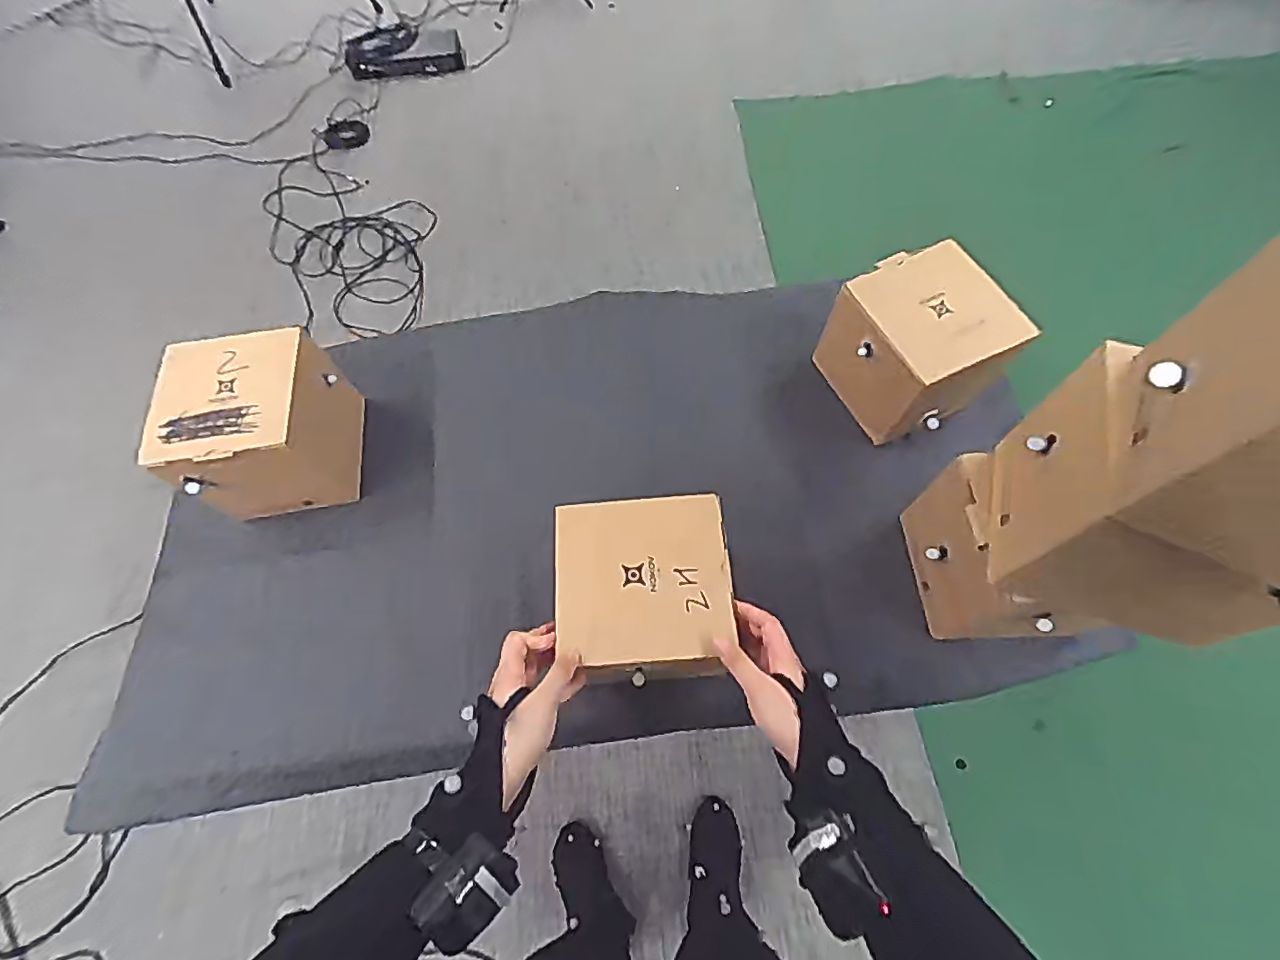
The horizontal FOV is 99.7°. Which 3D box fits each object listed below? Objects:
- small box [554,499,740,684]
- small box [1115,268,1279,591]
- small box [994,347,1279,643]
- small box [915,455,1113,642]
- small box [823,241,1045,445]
[{"bbox_3d":[0.008,0.132,0.604,0.179,0.176,0.168,-4,66,1],"label":"small box"},{"bbox_3d":[0.429,-0.033,0.298,0.179,0.176,0.168,27,66,15],"label":"small box"},{"bbox_3d":[0.434,0.022,0.456,0.179,0.176,0.168,18,64,10],"label":"small box"},{"bbox_3d":[0.435,0.082,0.608,0.179,0.176,0.168,-2,62,2],"label":"small box"},{"bbox_3d":[0.376,-0.177,0.733,0.168,0.176,0.179,-24,69,-6],"label":"small box"}]
